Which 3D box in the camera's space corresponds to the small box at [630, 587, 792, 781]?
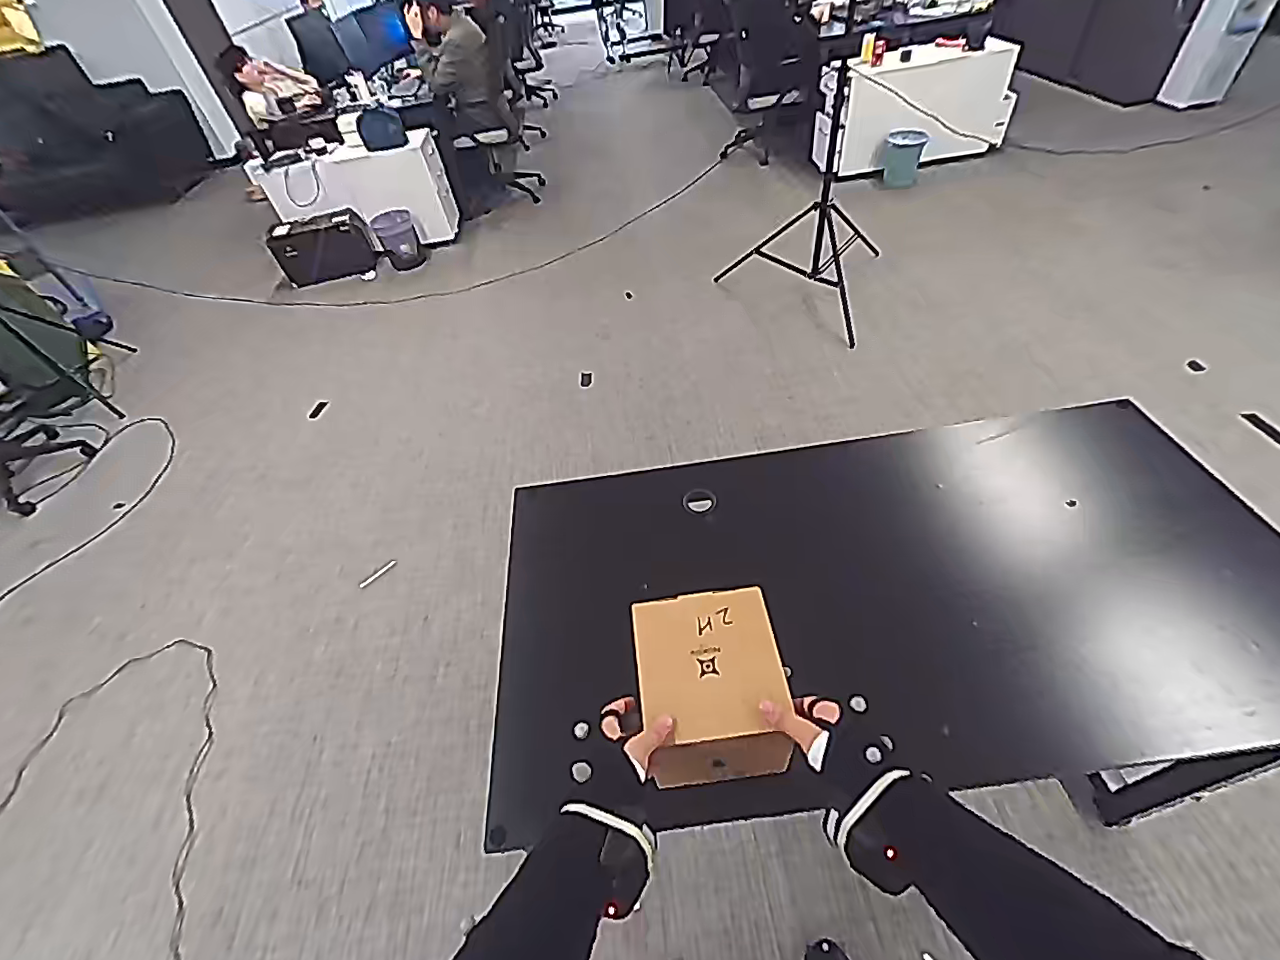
[{"bbox_3d":[0.085,0.264,0.686,0.168,0.176,0.179,-9,46,1],"label":"small box"}]
